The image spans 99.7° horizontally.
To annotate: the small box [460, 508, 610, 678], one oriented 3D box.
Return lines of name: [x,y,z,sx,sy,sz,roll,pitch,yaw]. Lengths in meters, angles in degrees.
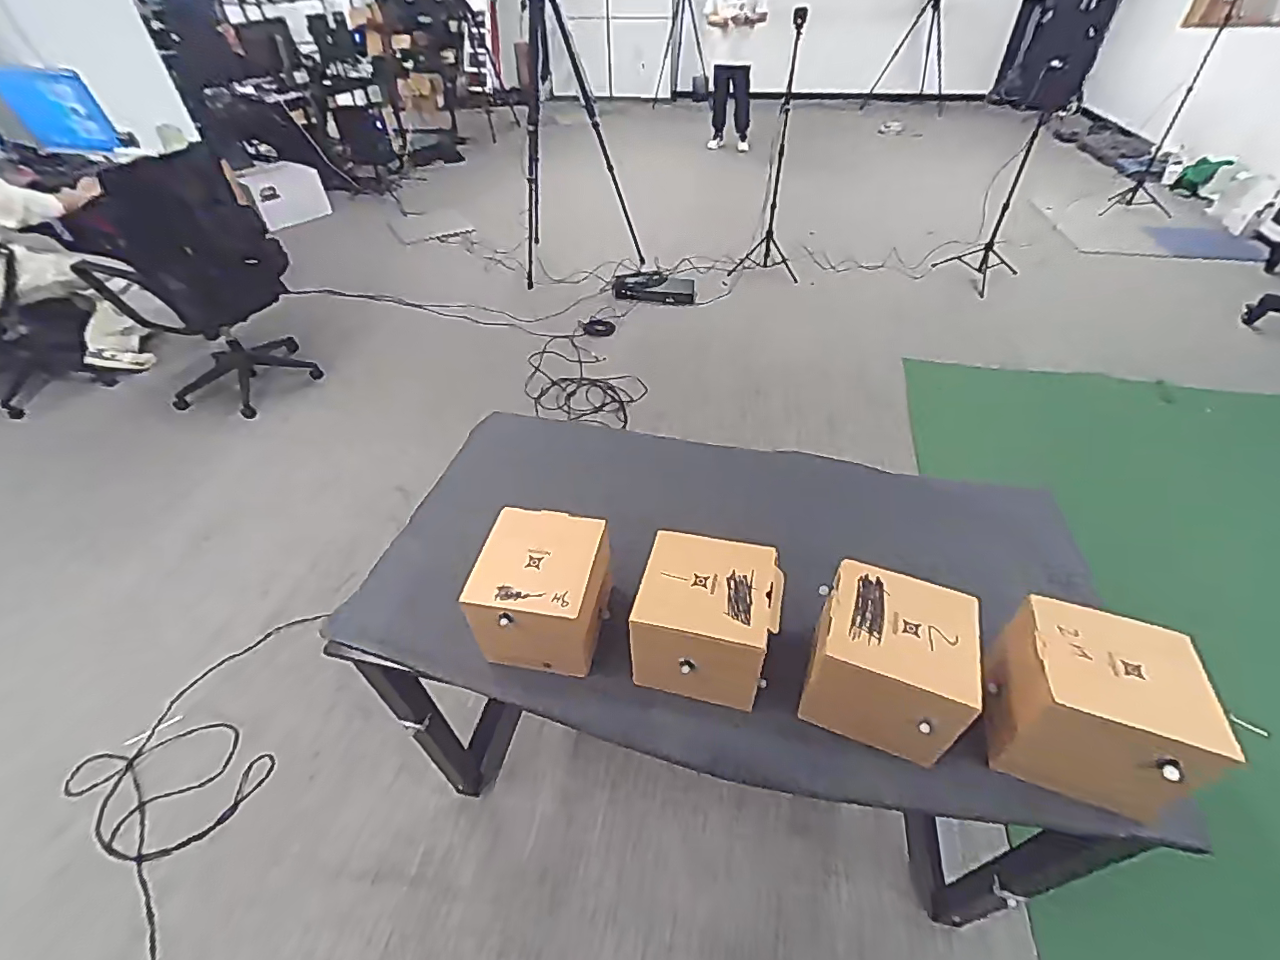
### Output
small box: [-0.145,0.170,0.821,0.168,0.176,0.179,6,44,10]
